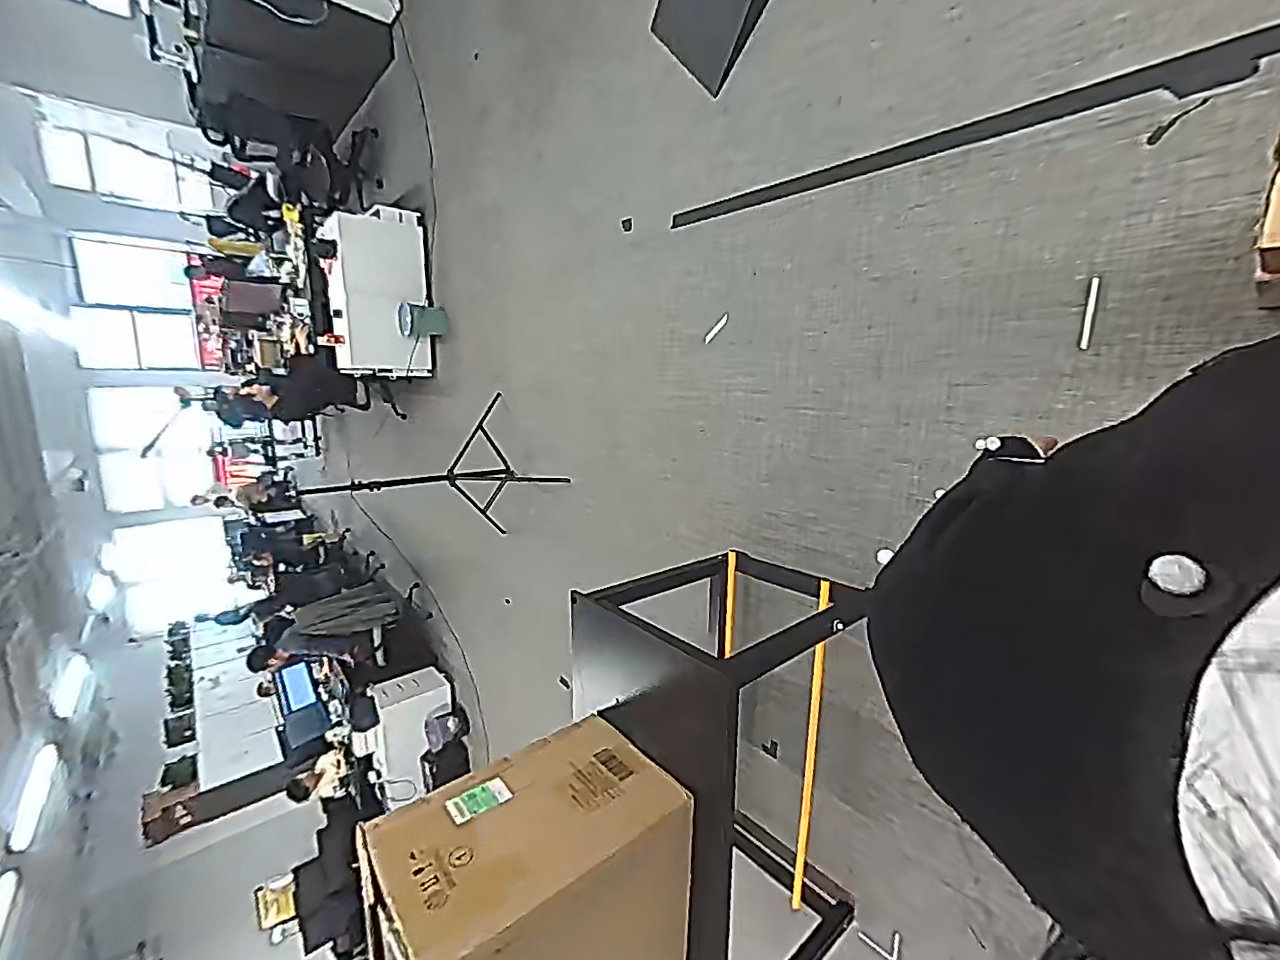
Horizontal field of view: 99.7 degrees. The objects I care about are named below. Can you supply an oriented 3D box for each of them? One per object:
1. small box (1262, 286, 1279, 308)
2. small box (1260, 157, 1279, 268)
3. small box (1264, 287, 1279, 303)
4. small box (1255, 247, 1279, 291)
[{"bbox_3d":[1.138,-0.375,0.862,0.168,0.176,0.179,14,109,49],"label":"small box"},{"bbox_3d":[0.769,-0.316,0.538,0.179,0.176,0.168,13,106,48],"label":"small box"},{"bbox_3d":[1.016,-0.347,0.753,0.168,0.176,0.179,15,108,49],"label":"small box"},{"bbox_3d":[0.891,-0.326,0.650,0.168,0.176,0.179,16,109,49],"label":"small box"}]
